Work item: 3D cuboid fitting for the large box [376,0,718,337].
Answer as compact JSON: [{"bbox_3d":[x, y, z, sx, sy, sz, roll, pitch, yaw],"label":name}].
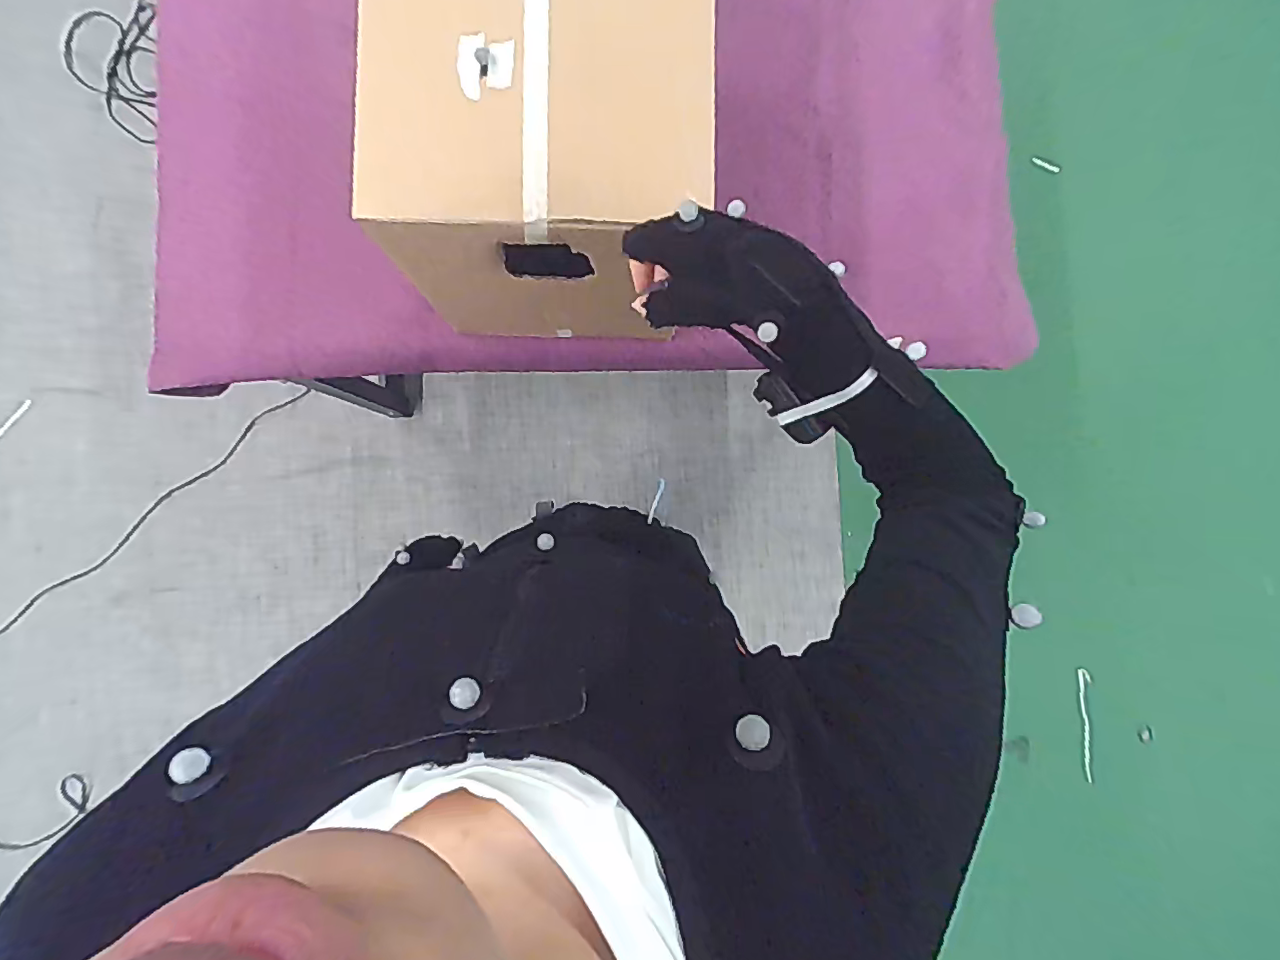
[{"bbox_3d":[-0.092,-0.416,0.644,0.320,0.320,0.408,1,88,-3],"label":"large box"}]
